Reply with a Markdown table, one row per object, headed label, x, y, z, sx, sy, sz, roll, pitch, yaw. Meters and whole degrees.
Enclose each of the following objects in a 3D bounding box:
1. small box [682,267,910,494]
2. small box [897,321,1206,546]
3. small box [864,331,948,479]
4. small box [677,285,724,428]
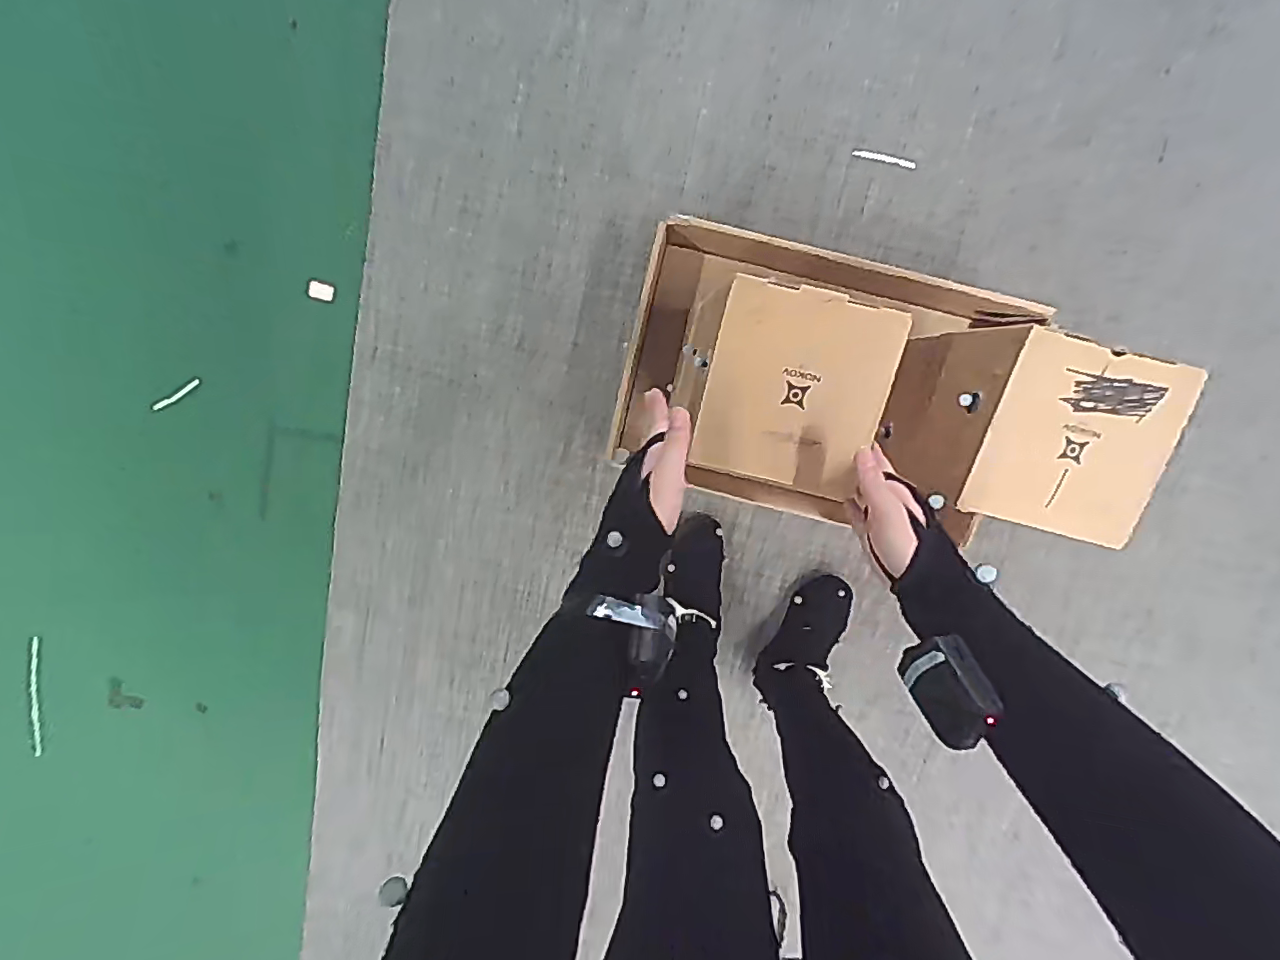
| label | x | y | z | sx | sy | sz | roll | pitch | yaw |
| --- | --- | --- | --- | --- | --- | --- | --- | --- | --- |
| small box | 0.143 | -0.105 | 0.570 | 0.168 | 0.176 | 0.179 | 13 | 105 | -1 |
| small box | 0.403 | -0.057 | 0.572 | 0.168 | 0.176 | 0.179 | 15 | 105 | 0 |
| small box | 0.412 | -0.091 | 0.732 | 0.168 | 0.176 | 0.179 | 15 | 103 | 0 |
| small box | 0.147 | -0.146 | 0.728 | 0.168 | 0.176 | 0.179 | 13 | 103 | -1 |
